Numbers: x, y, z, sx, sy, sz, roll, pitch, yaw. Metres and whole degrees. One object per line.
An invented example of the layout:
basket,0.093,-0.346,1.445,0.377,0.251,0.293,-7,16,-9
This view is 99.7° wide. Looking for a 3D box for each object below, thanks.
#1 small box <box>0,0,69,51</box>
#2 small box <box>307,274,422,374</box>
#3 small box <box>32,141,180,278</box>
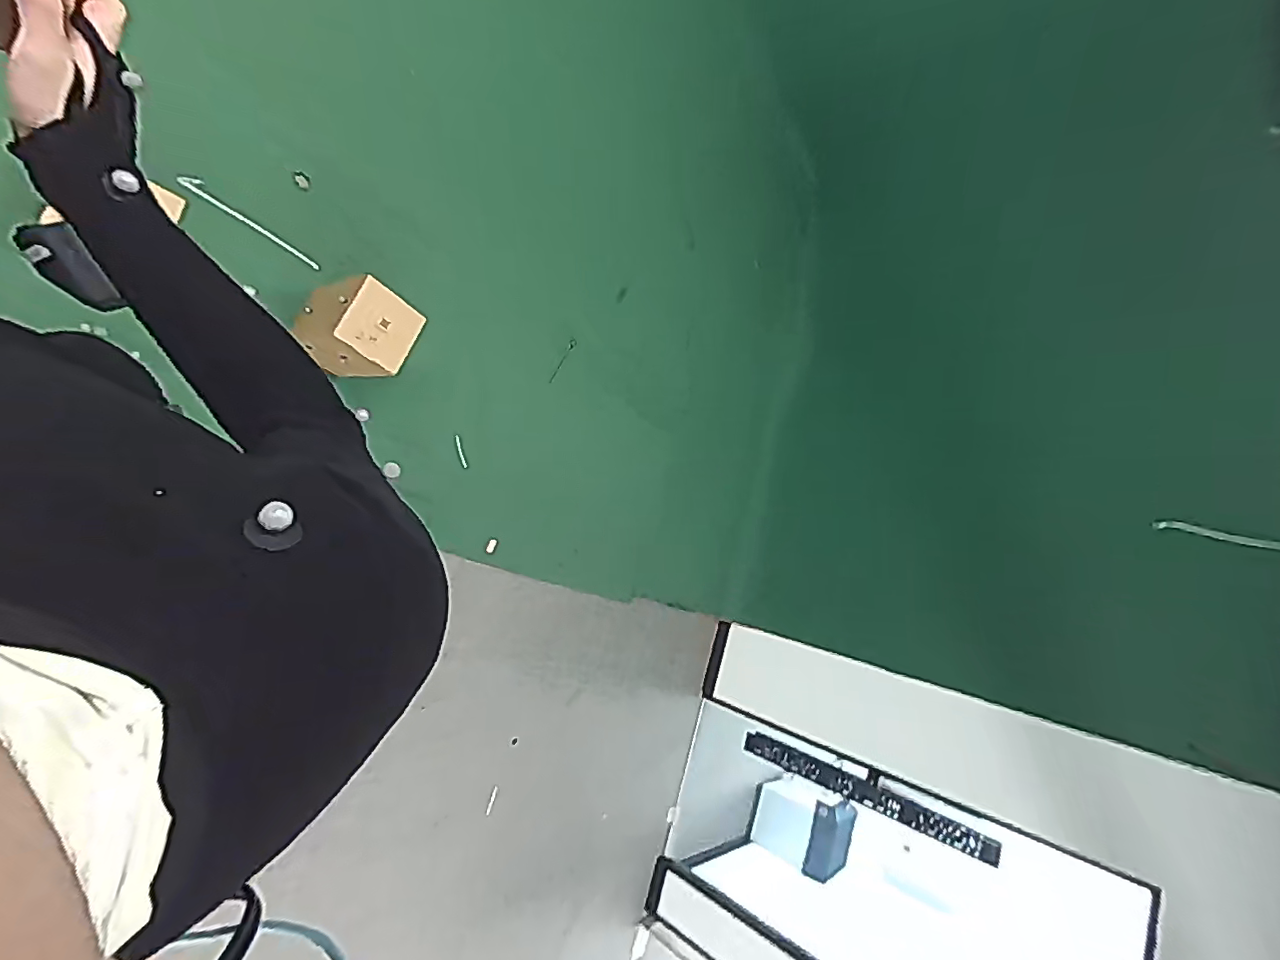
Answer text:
small box,-0.472,-0.407,0.320,0.168,0.176,0.179,-6,109,-51
small box,-0.690,-0.383,1.349,0.168,0.176,0.179,39,67,-47
small box,-1.086,-0.535,1.101,0.168,0.176,0.179,26,75,-49
